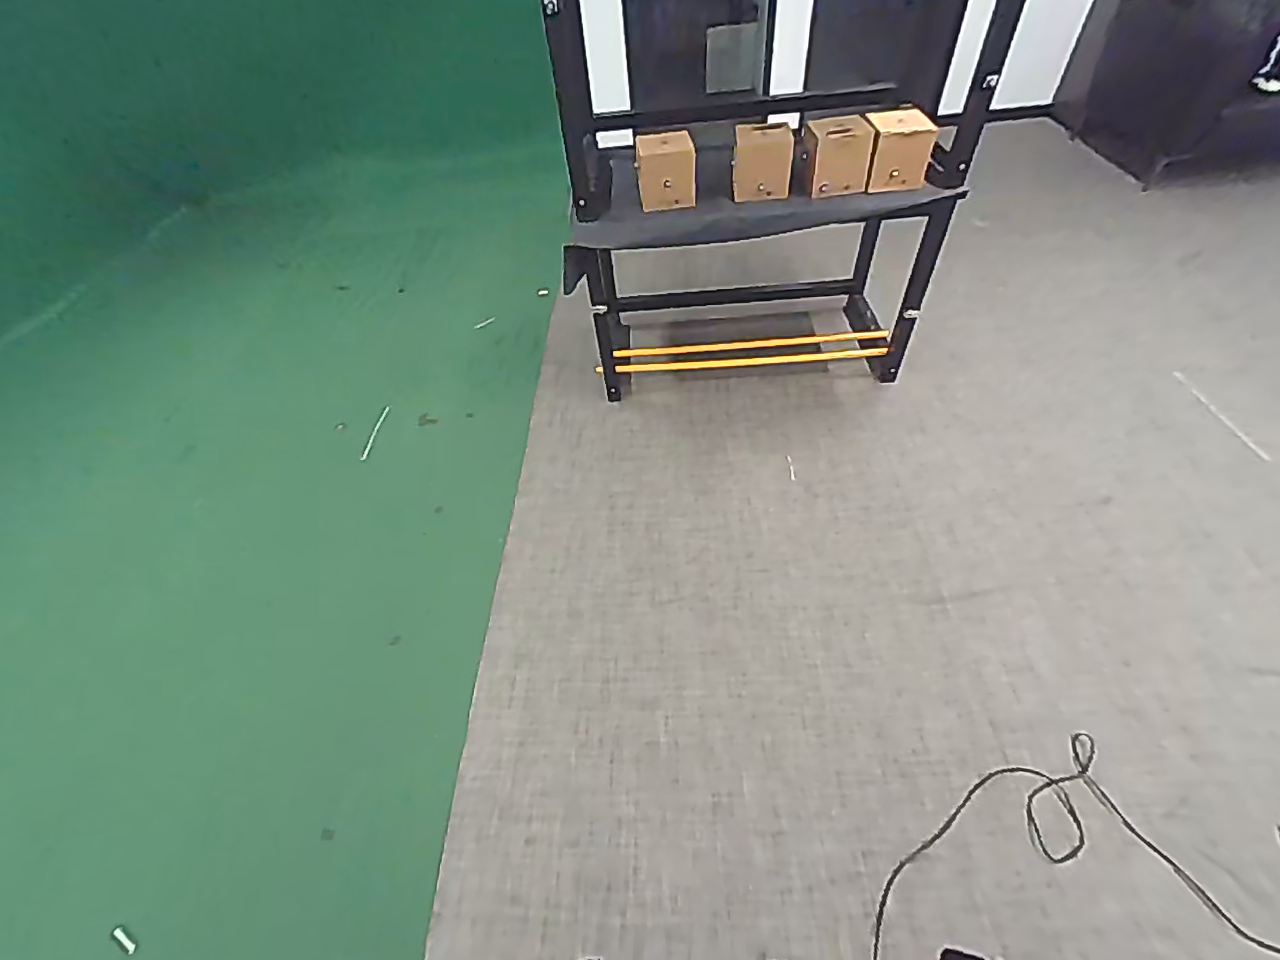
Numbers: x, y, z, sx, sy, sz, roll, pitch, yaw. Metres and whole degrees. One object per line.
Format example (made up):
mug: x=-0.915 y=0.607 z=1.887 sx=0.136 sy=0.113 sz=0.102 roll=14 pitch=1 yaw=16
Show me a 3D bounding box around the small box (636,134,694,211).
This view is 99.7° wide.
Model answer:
small box: x=0.081 y=-0.973 z=1.722 sx=0.168 sy=0.176 sz=0.179 roll=-6 pitch=48 yaw=0
